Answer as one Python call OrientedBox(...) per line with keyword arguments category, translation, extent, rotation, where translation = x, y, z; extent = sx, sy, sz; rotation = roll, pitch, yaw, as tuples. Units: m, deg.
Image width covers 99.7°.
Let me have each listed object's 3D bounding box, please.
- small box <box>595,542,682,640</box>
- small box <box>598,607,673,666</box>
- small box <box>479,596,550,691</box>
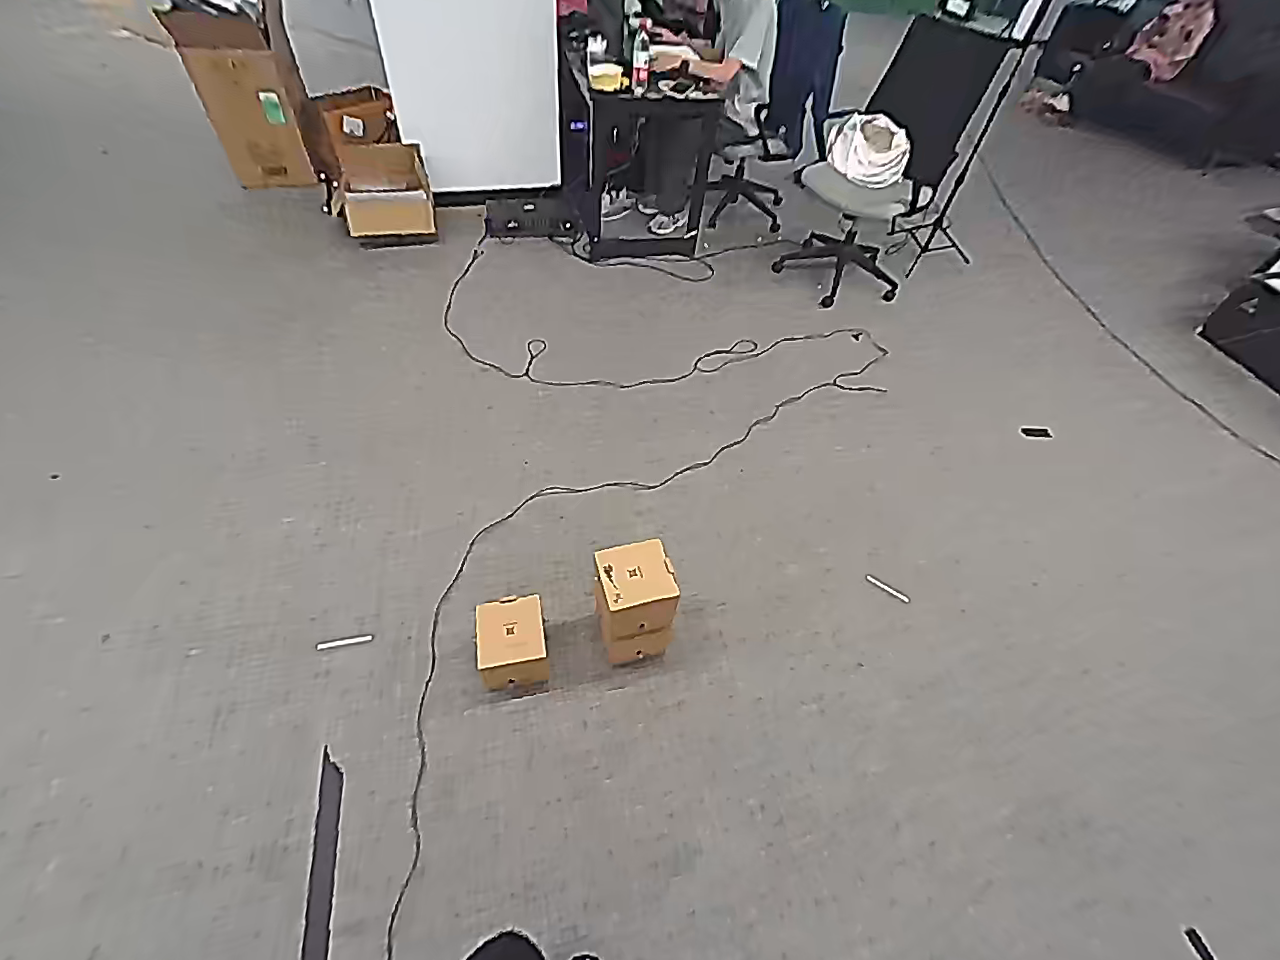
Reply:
OrientedBox(category="small box", translation=(-0.012, 0.282, 1.363), extent=(0.179, 0.176, 0.168), rotation=(-9, 52, -14))
OrientedBox(category="small box", translation=(-0.019, 0.386, 1.490), extent=(0.168, 0.176, 0.179), rotation=(-9, 53, -13))
OrientedBox(category="small box", translation=(-0.329, 0.431, 1.424), extent=(0.168, 0.176, 0.179), rotation=(-7, 53, -10))
